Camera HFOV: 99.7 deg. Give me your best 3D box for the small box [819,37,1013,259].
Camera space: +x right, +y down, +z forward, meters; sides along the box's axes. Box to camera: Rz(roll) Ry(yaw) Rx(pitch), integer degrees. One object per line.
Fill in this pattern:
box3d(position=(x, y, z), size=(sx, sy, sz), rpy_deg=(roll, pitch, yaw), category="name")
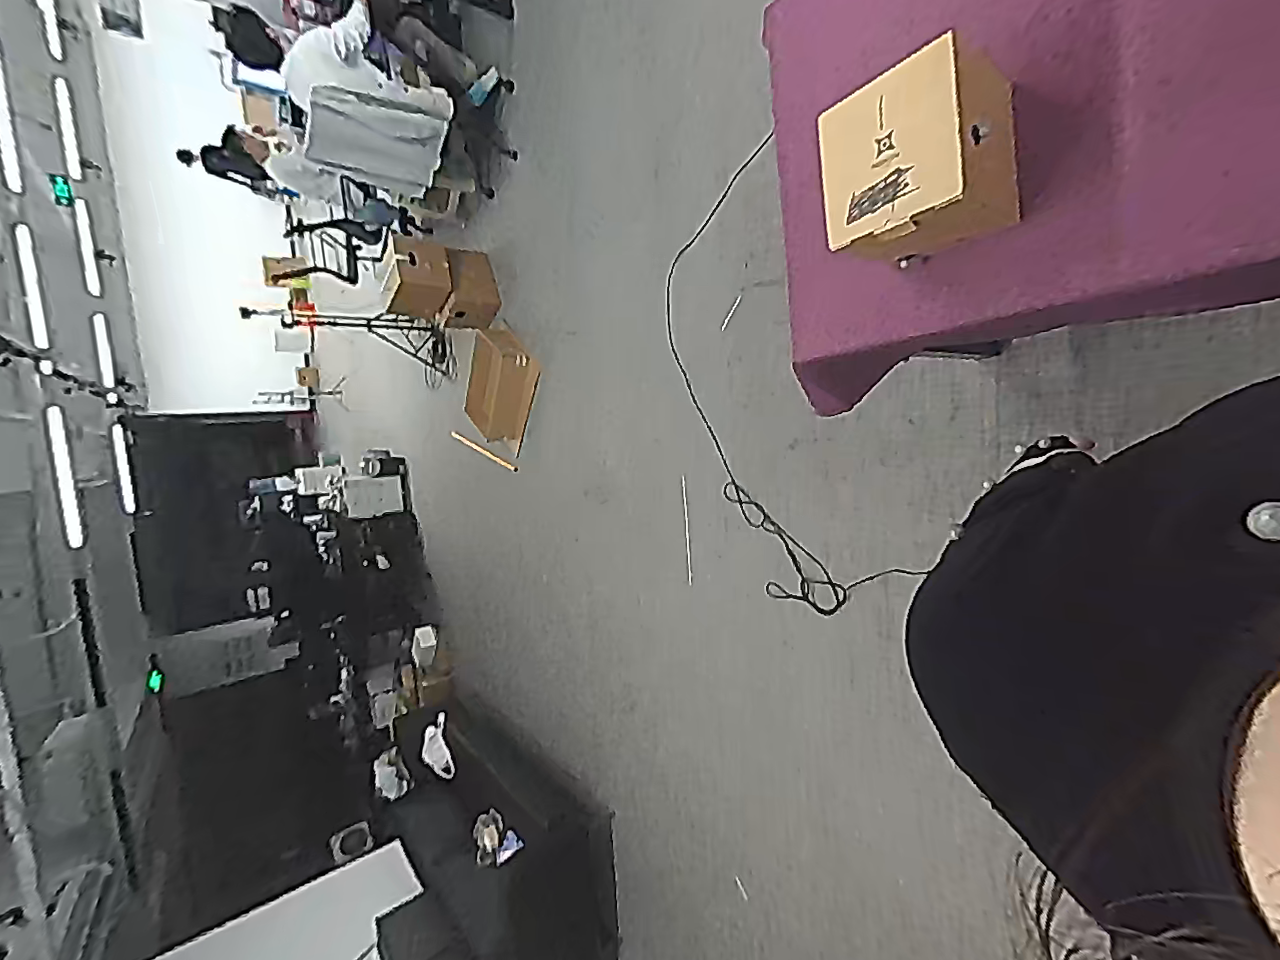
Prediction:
box3d(position=(0.355, -0.398, 0.693), size=(0.168, 0.176, 0.179), rpy_deg=(-2, 94, 52), category="small box")
